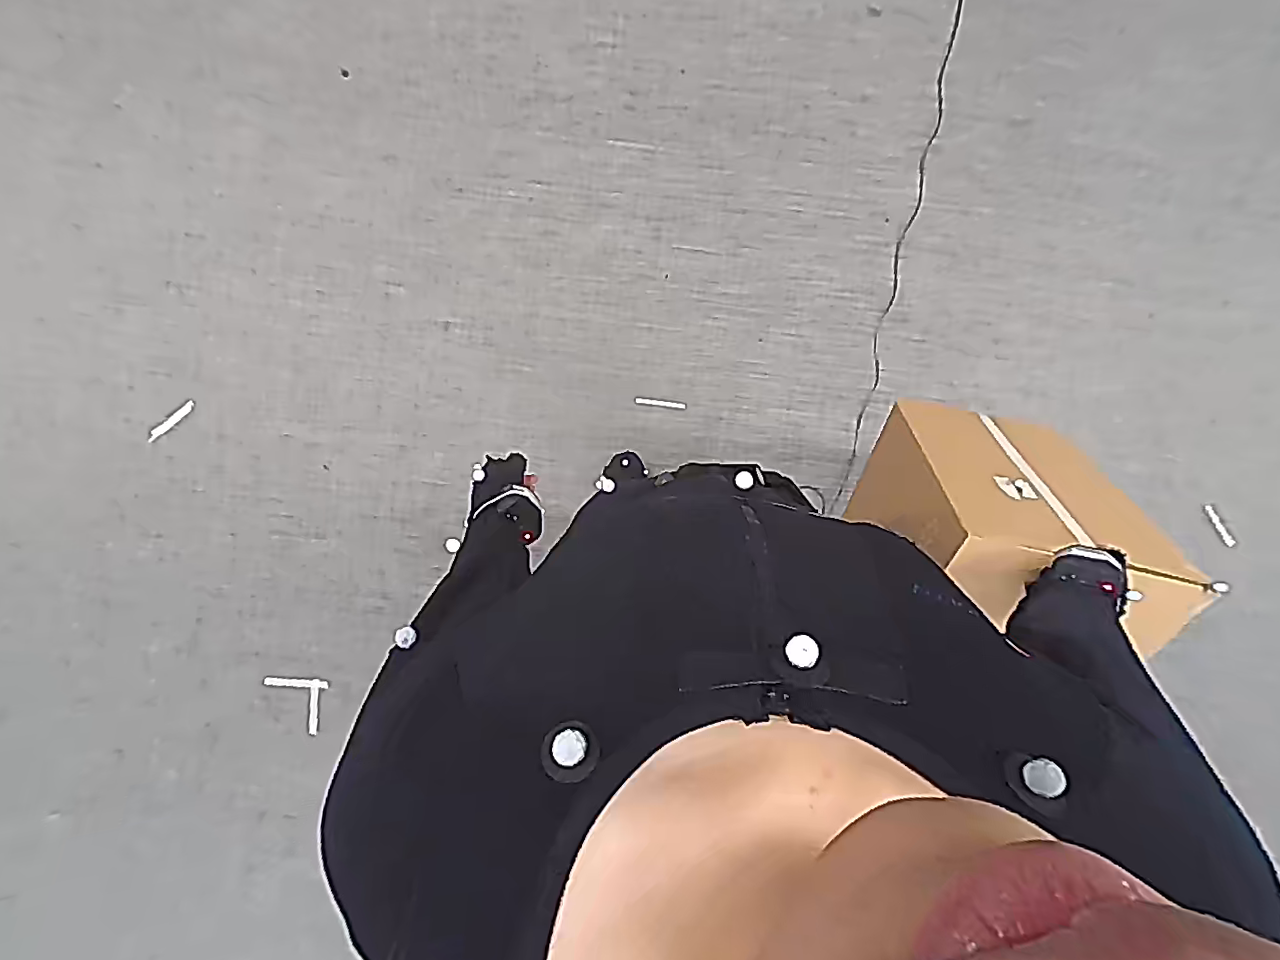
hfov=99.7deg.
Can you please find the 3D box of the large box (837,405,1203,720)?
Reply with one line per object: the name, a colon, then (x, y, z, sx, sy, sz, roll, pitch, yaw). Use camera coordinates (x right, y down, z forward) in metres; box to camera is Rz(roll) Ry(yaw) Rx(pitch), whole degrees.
large box: (0.572, 0.122, 0.935, 0.320, 0.408, 0.320, 13, 125, 3)
